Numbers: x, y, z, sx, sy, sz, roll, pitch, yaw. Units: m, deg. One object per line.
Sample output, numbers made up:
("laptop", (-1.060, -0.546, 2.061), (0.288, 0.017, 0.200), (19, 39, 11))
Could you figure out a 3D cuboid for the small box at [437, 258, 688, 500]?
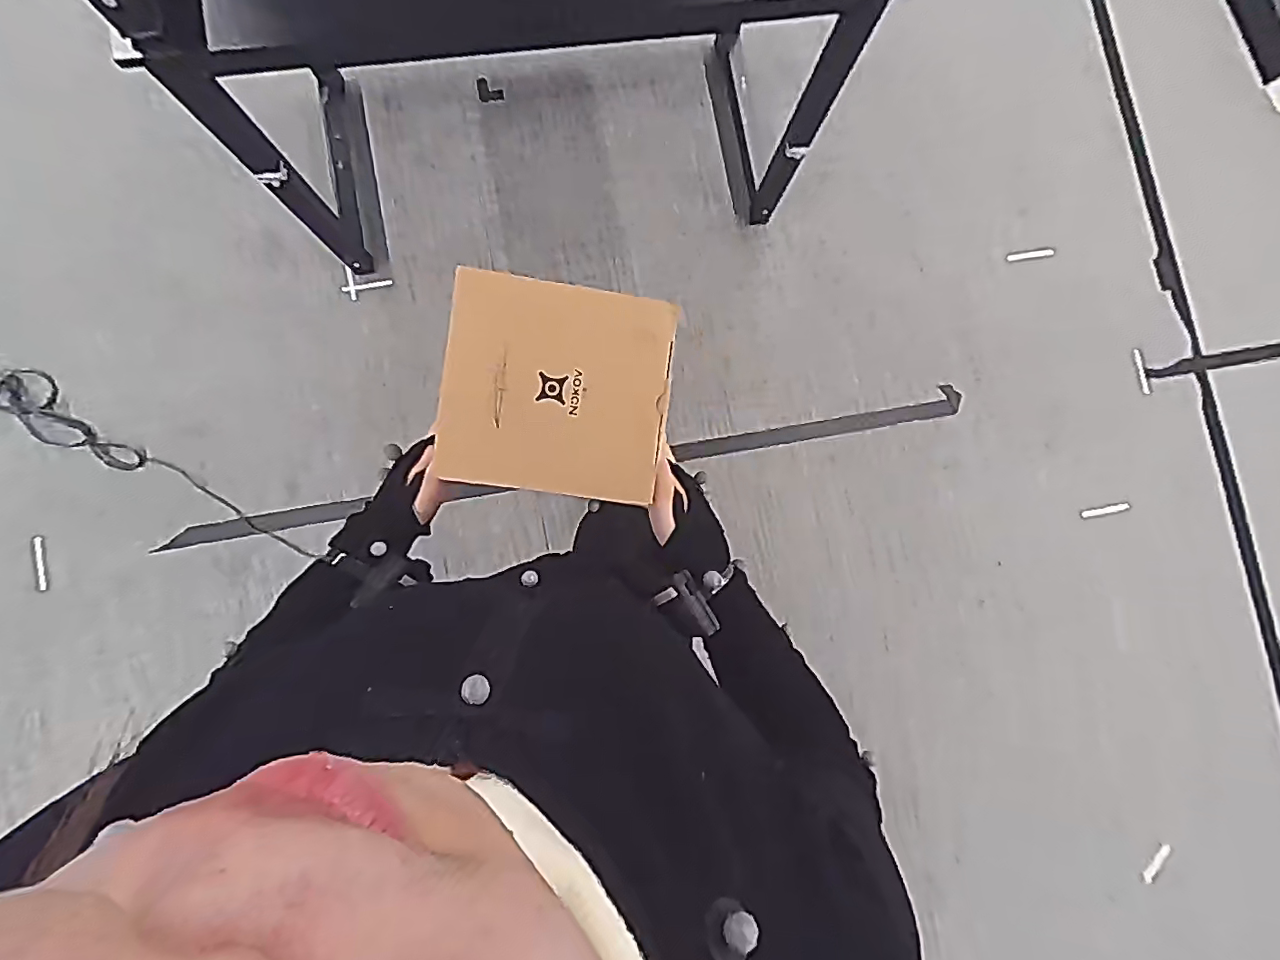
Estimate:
("small box", (-0.066, -0.079, 0.494), (0.179, 0.176, 0.168), (7, 91, -5))
